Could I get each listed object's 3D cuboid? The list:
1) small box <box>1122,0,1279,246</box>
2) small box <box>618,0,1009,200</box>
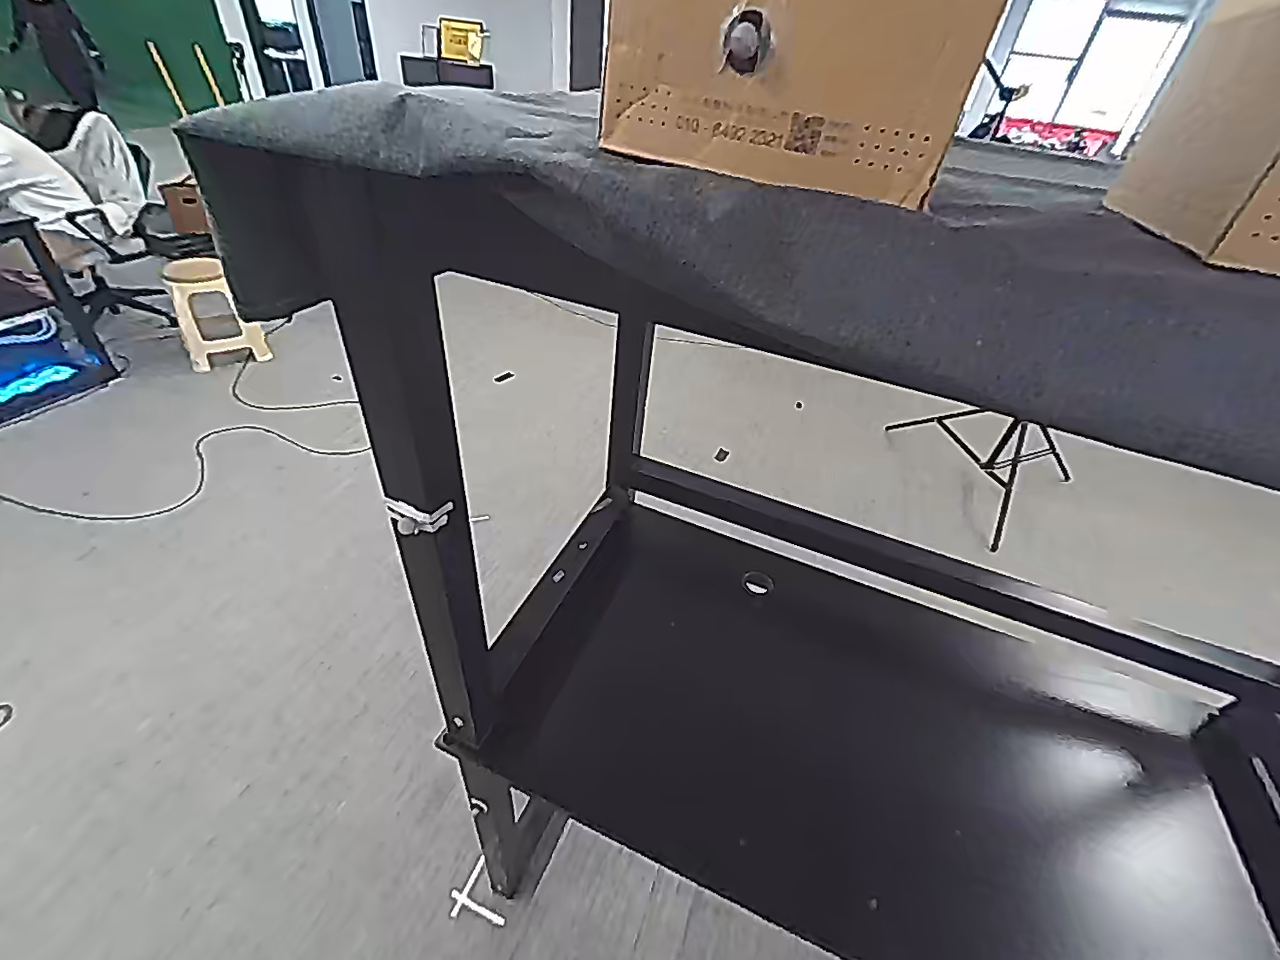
[{"bbox_3d":[0.349,-0.179,0.215,0.168,0.176,0.179,19,38,15],"label":"small box"},{"bbox_3d":[0.097,-0.261,0.279,0.168,0.176,0.179,19,39,13],"label":"small box"}]
